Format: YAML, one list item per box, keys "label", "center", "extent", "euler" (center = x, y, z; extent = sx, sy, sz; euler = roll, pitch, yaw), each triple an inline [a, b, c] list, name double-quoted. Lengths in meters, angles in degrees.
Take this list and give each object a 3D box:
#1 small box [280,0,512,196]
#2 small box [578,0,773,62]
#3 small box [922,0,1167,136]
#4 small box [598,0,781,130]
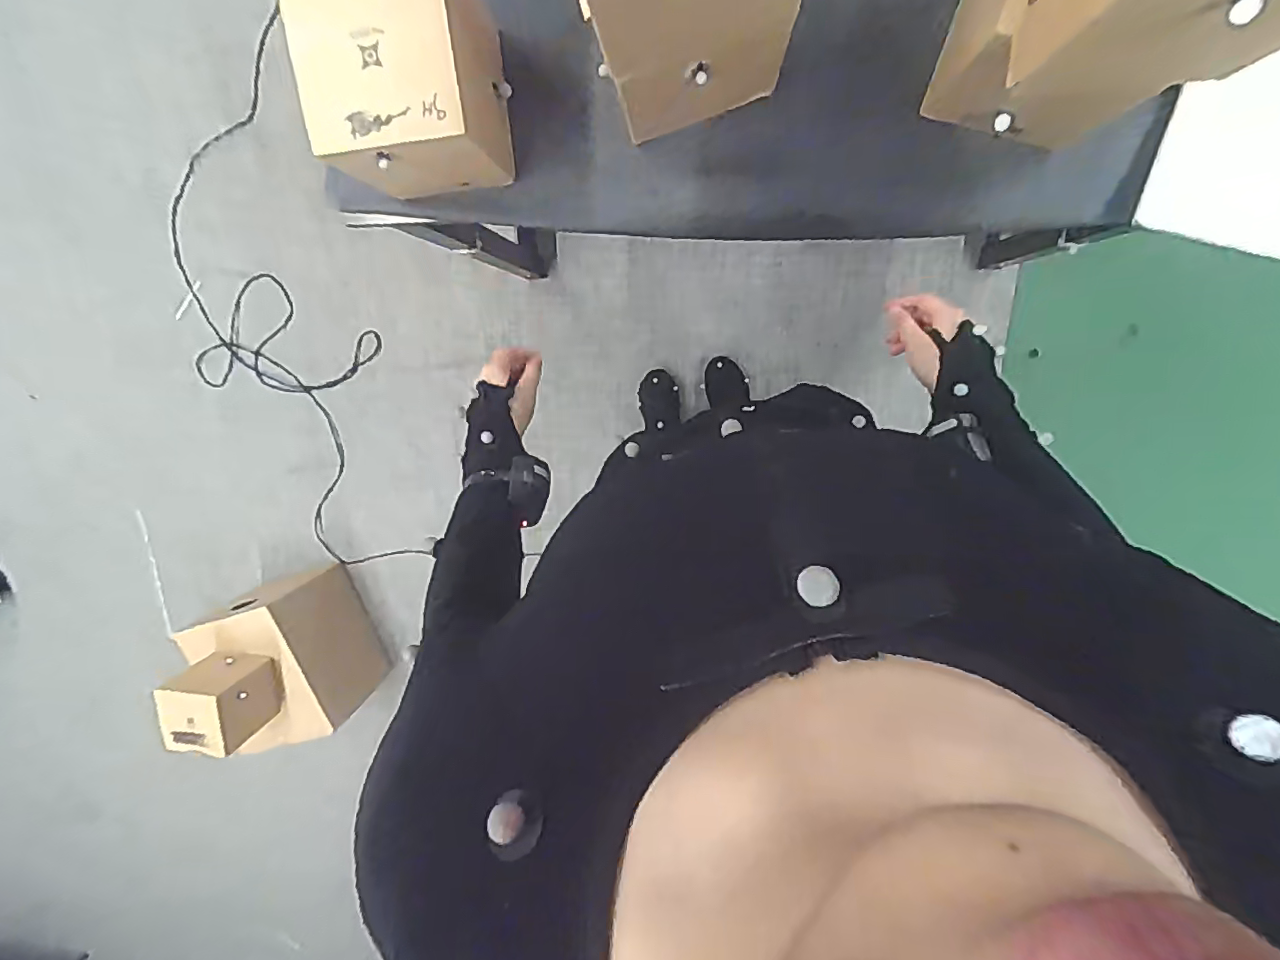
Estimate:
- label: "small box"
  center: [-0.258, -0.444, 0.607]
  extent: [0.168, 0.176, 0.179]
  euler: [-4, 103, 8]
- label: "small box"
  center: [0.018, -0.461, 0.402]
  extent: [0.179, 0.176, 0.168]
  euler: [-13, 103, 10]
- label: "small box"
  center: [0.405, -0.473, 0.521]
  extent: [0.168, 0.176, 0.179]
  euler: [16, 105, 3]
- label: "small box"
  center: [0.036, -0.503, 0.560]
  extent: [0.179, 0.176, 0.168]
  euler: [-15, 102, 10]
